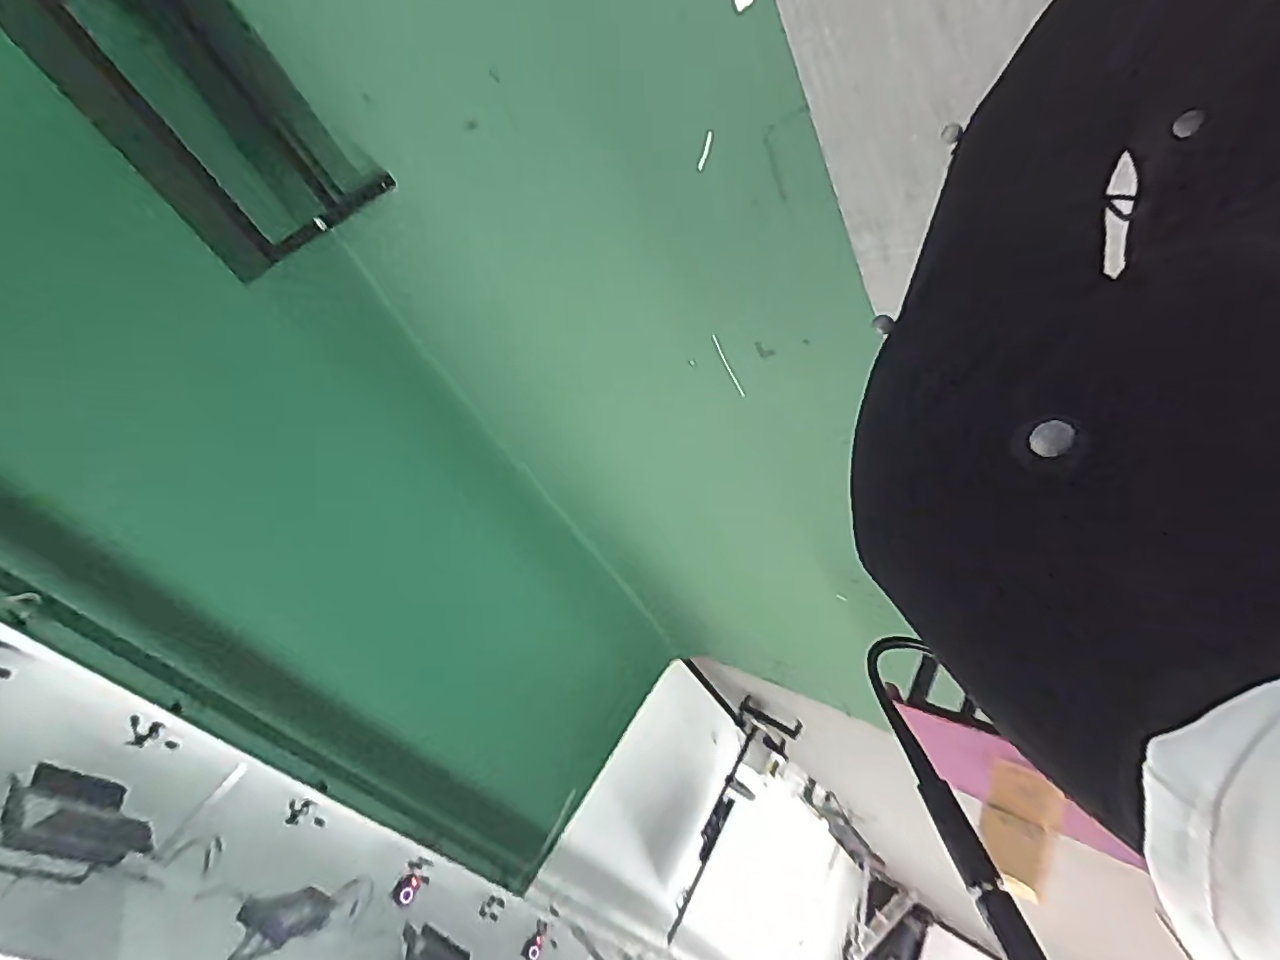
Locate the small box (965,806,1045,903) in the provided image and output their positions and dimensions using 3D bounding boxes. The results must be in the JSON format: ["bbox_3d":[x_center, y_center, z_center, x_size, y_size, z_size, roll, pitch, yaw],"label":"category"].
[{"bbox_3d":[1.120,1.138,1.654,0.168,0.176,0.179,5,141,47],"label":"small box"}]

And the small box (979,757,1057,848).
[{"bbox_3d":[1.213,1.026,1.732,0.168,0.176,0.179,1,137,49],"label":"small box"}]
